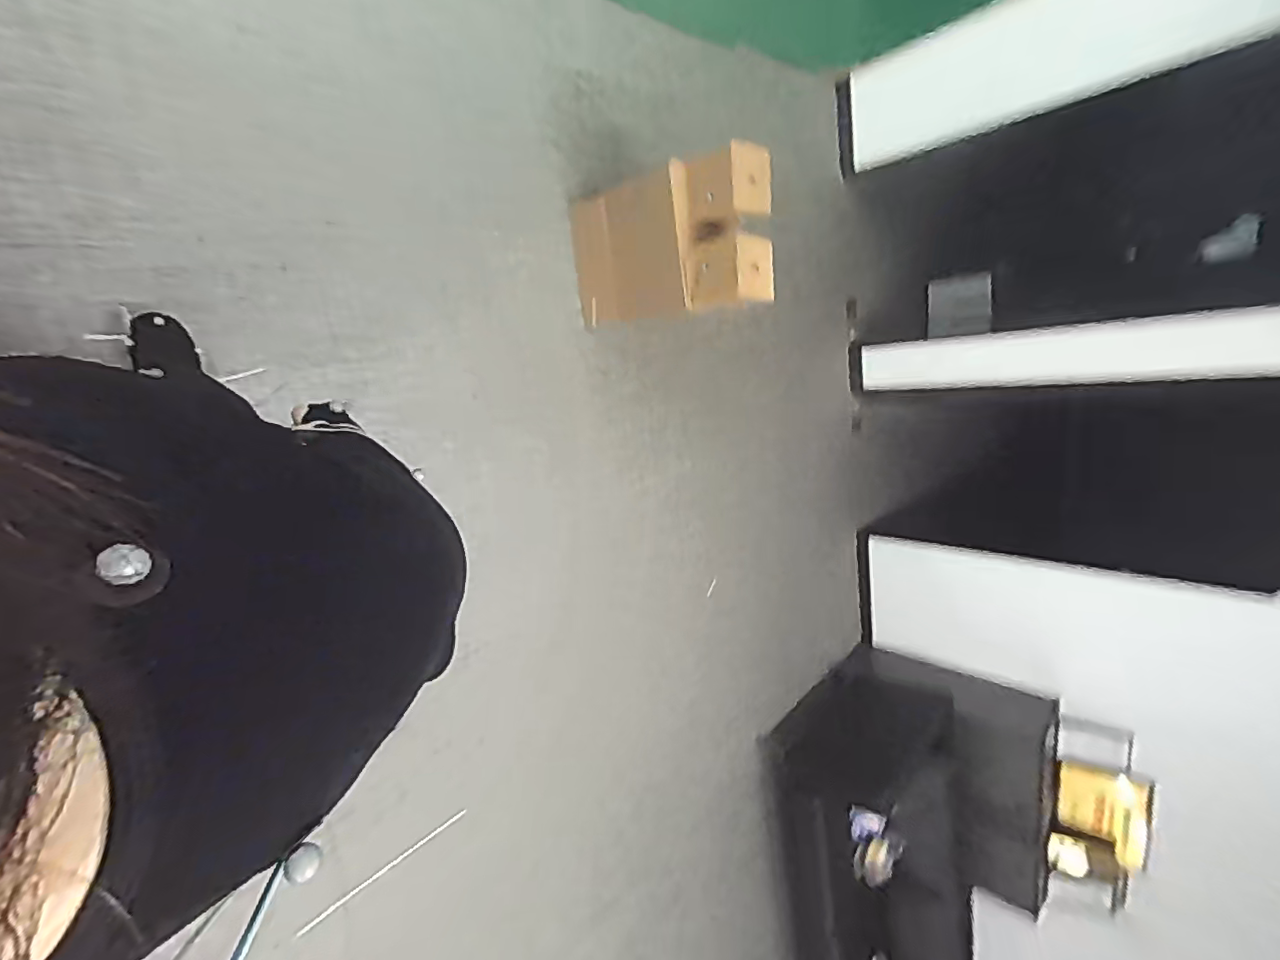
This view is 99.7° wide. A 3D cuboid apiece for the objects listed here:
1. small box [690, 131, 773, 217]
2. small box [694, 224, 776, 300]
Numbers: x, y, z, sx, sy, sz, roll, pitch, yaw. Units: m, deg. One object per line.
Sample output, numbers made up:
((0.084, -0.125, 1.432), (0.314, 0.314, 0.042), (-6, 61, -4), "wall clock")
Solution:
((0.253, -0.853, 1.523), (0.179, 0.176, 0.168), (-19, 110, -40), "small box")
((0.276, -0.624, 1.569), (0.179, 0.176, 0.168), (-13, 102, -42), "small box")
